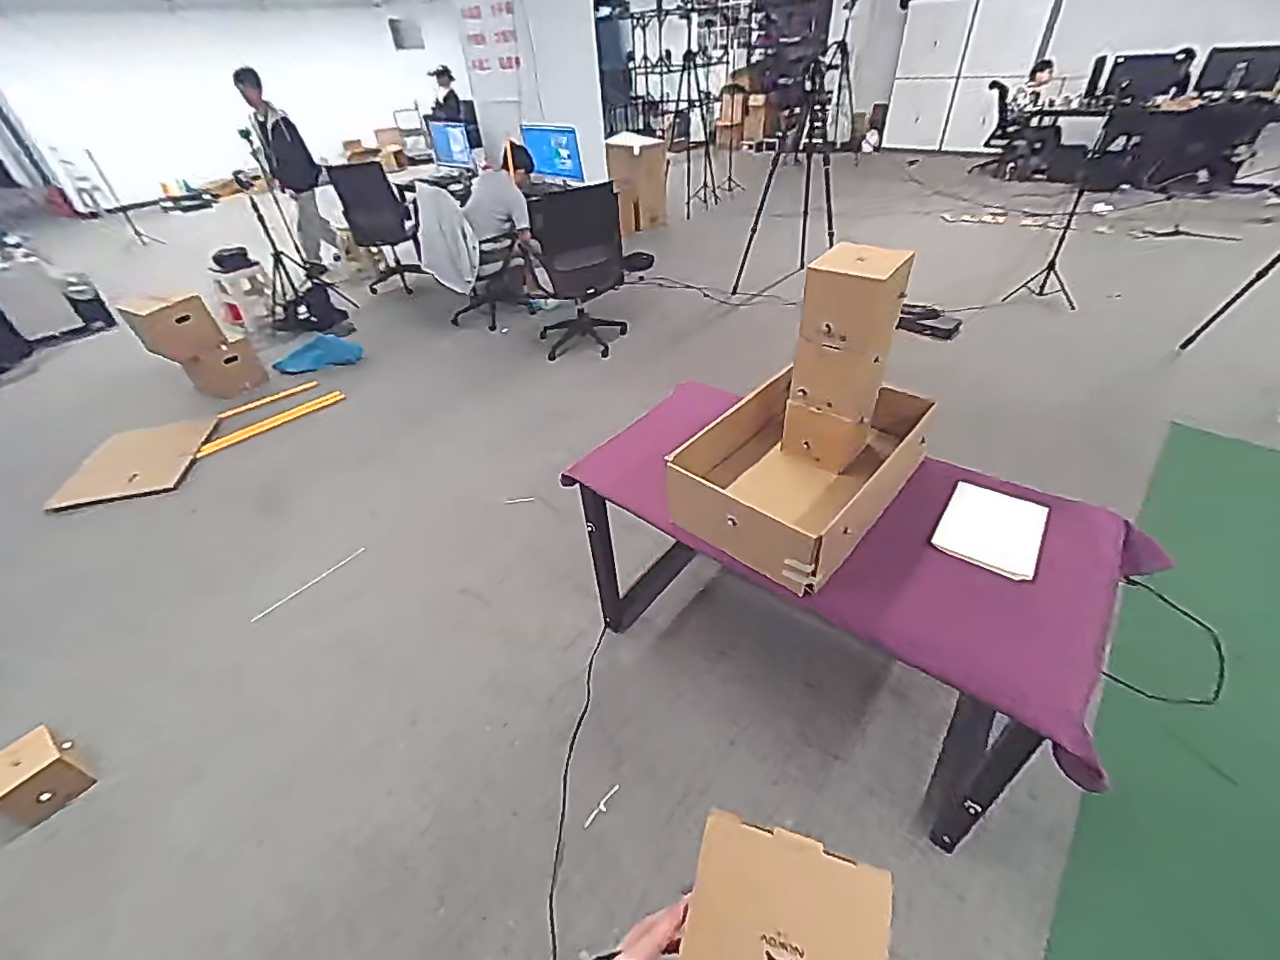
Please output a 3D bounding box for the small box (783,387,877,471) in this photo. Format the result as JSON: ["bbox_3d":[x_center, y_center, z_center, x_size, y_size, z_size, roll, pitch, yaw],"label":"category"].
[{"bbox_3d":[0.484,-0.154,1.398,0.168,0.176,0.179,26,50,31],"label":"small box"}]

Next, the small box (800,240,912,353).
[{"bbox_3d":[0.466,-0.405,1.188,0.168,0.176,0.179,25,50,31],"label":"small box"}]

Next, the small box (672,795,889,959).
[{"bbox_3d":[0.126,0.428,0.523,0.168,0.176,0.179,11,62,15],"label":"small box"}]

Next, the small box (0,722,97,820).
[{"bbox_3d":[-1.782,0.871,1.607,0.179,0.176,0.168,23,46,30],"label":"small box"}]

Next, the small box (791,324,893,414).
[{"bbox_3d":[0.477,-0.283,1.295,0.168,0.176,0.179,26,49,30],"label":"small box"}]
